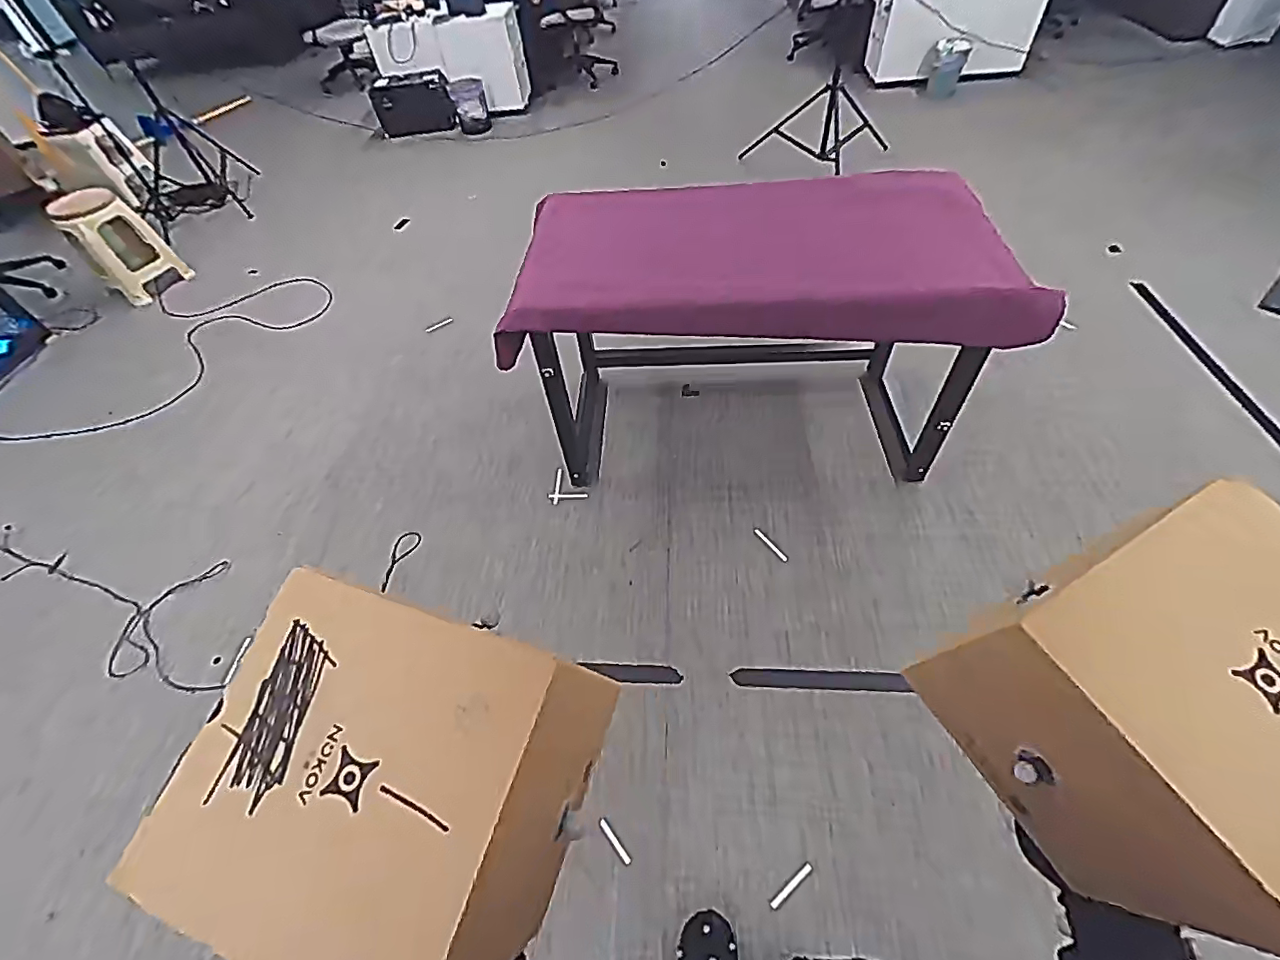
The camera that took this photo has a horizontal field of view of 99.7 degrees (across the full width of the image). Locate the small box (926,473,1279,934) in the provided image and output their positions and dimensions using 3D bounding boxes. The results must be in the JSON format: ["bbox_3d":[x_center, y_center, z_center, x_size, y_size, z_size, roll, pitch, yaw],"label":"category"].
[{"bbox_3d":[0.314,0.132,0.337,0.179,0.176,0.168,-28,64,-12],"label":"small box"}]

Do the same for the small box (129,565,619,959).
[{"bbox_3d":[-0.130,0.173,0.338,0.179,0.176,0.168,14,69,15],"label":"small box"}]
